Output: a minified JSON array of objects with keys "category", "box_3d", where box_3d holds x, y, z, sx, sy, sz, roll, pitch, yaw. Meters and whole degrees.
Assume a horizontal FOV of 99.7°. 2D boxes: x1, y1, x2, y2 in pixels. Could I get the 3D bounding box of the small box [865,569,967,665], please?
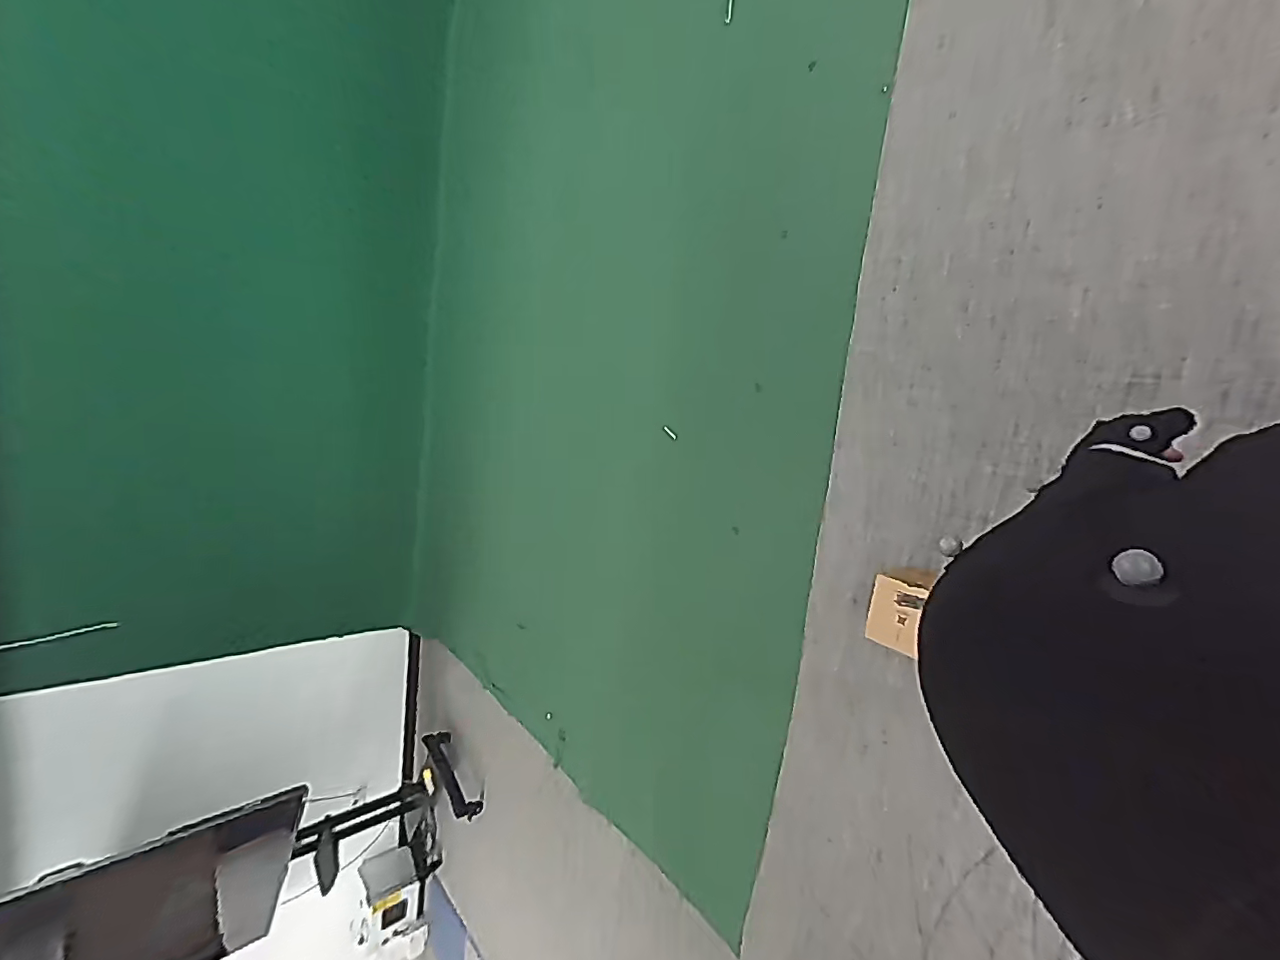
[{"category":"small box","box_3d":[0.698,0.334,1.362,0.168,0.176,0.179,17,103,47]}]
